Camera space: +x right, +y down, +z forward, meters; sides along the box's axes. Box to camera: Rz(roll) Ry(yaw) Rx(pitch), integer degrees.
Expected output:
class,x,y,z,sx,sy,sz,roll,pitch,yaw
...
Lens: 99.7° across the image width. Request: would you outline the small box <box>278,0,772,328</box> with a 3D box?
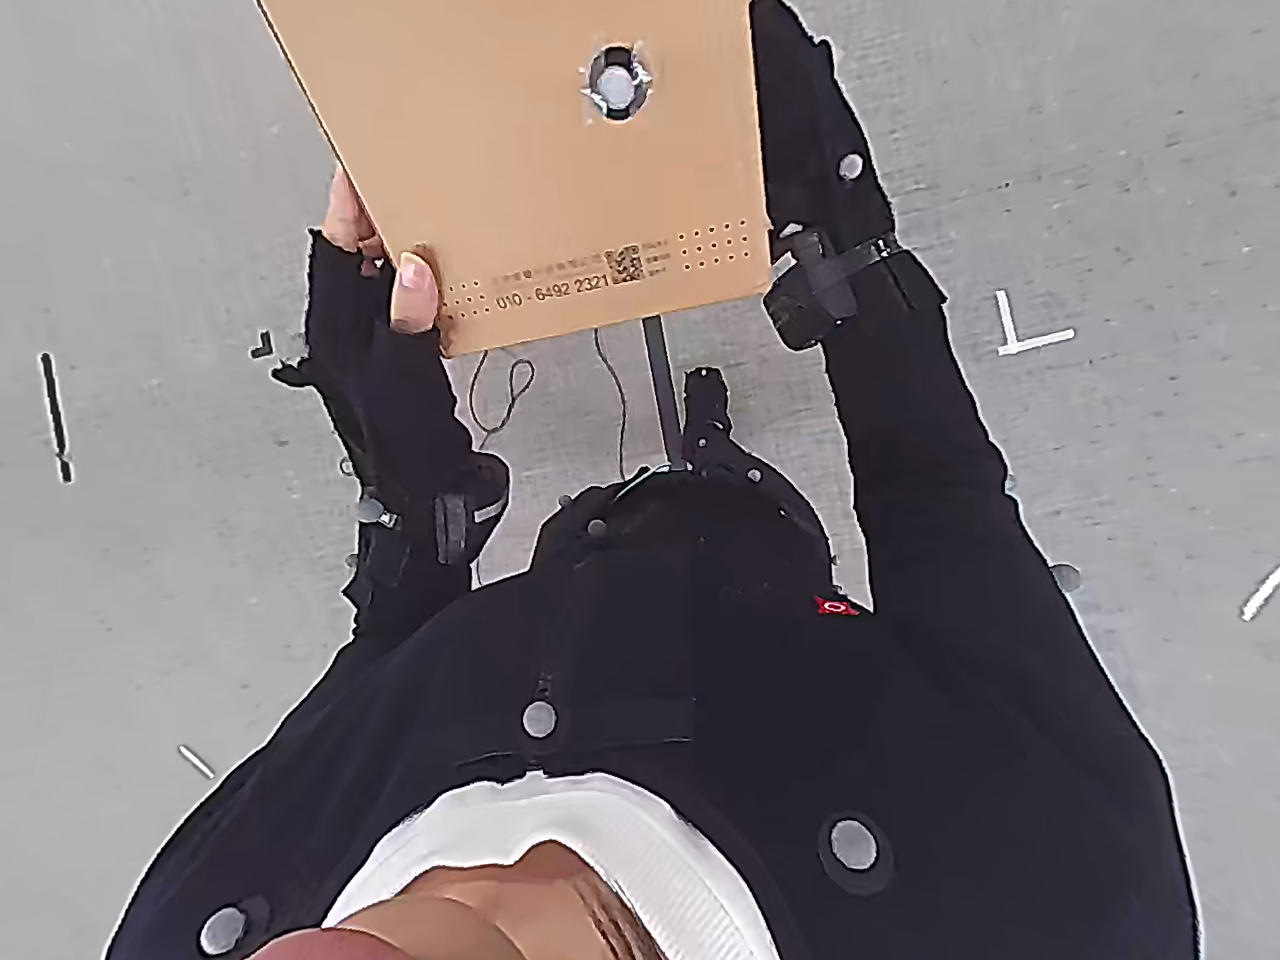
class,x,y,z,sx,sy,sz,roll,pitch,yaw
small box,-0.029,-0.190,0.277,0.168,0.179,0.176,-7,129,11
